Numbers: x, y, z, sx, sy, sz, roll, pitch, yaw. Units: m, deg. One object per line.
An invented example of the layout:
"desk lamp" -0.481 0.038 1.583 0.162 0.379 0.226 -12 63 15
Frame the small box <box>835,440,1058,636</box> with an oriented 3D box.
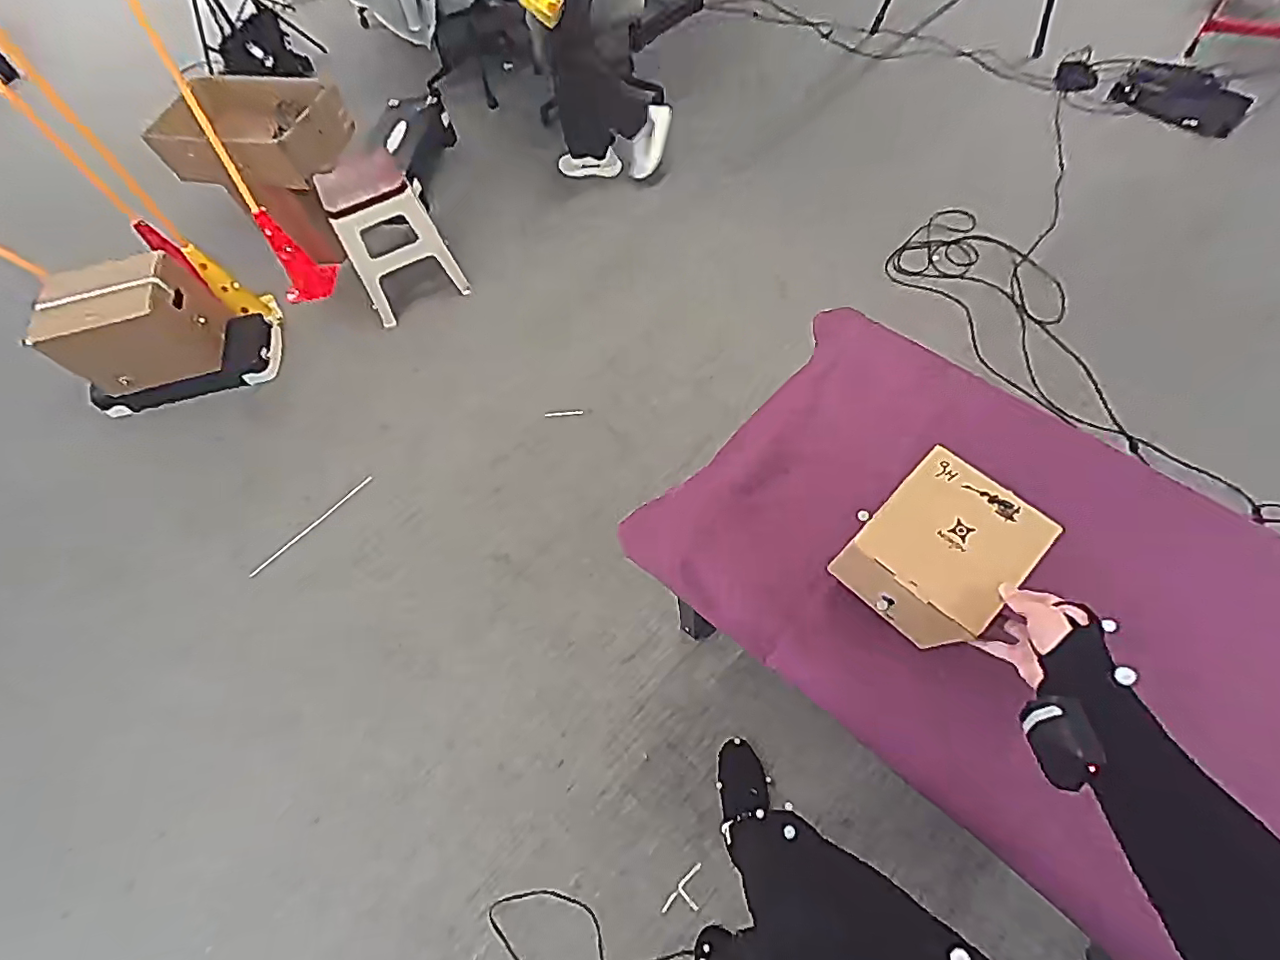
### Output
"small box" 0.380 0.086 0.712 0.168 0.176 0.179 42 81 20
